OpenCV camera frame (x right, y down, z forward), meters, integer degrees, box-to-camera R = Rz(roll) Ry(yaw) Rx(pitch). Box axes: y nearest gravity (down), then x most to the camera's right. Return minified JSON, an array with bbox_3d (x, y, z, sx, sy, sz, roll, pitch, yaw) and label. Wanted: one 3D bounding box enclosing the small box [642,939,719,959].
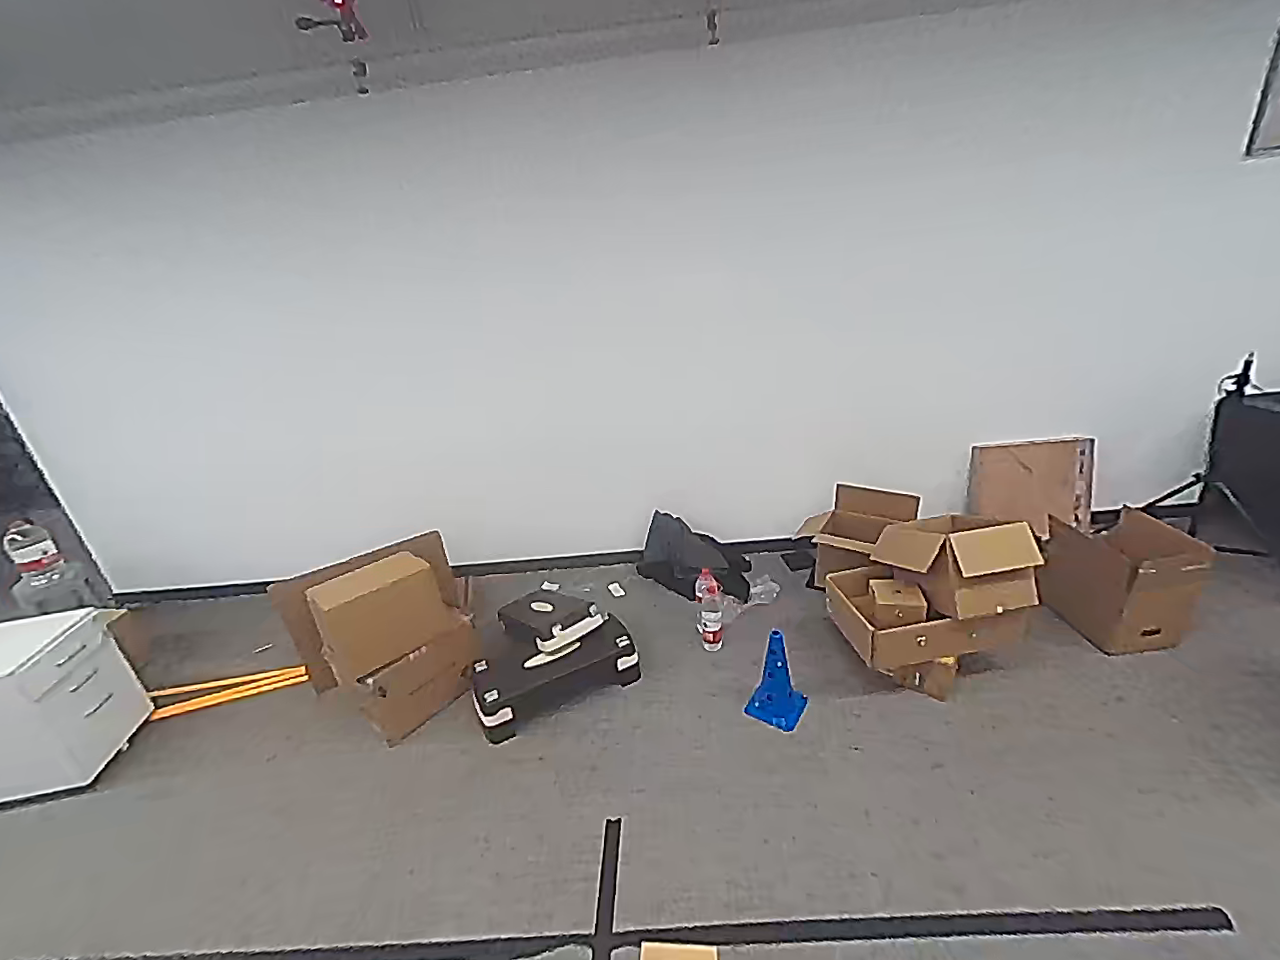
[{"bbox_3d":[0.083,1.108,1.122,0.168,0.176,0.179,-3,25,8],"label":"small box"}]
